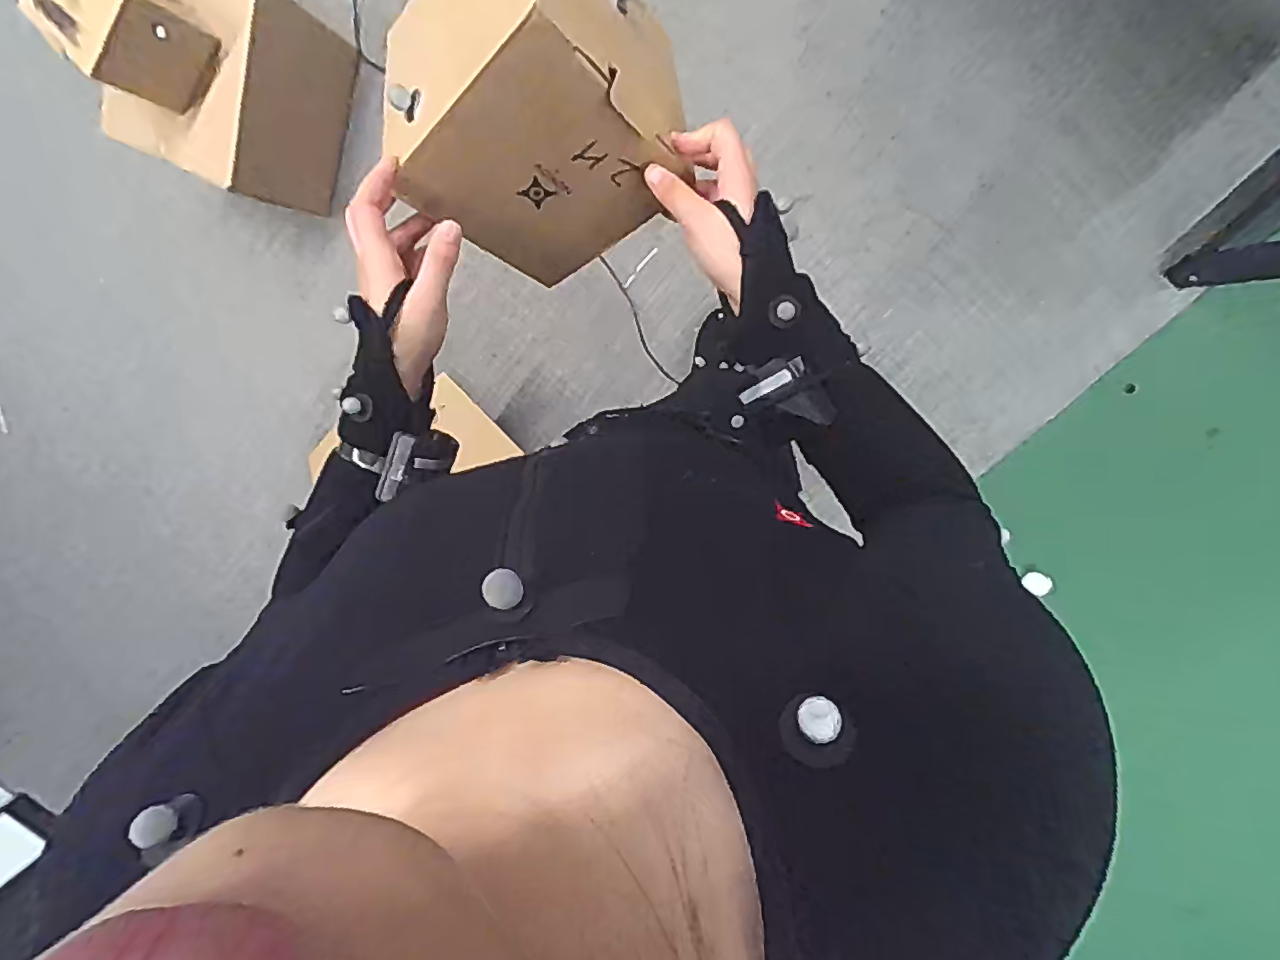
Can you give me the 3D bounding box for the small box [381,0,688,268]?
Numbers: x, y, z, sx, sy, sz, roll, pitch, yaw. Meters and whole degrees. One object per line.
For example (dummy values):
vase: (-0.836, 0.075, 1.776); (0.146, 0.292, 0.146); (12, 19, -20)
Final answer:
small box: (-0.084, -0.316, 0.436); (0.179, 0.168, 0.176); (-19, 70, 35)
